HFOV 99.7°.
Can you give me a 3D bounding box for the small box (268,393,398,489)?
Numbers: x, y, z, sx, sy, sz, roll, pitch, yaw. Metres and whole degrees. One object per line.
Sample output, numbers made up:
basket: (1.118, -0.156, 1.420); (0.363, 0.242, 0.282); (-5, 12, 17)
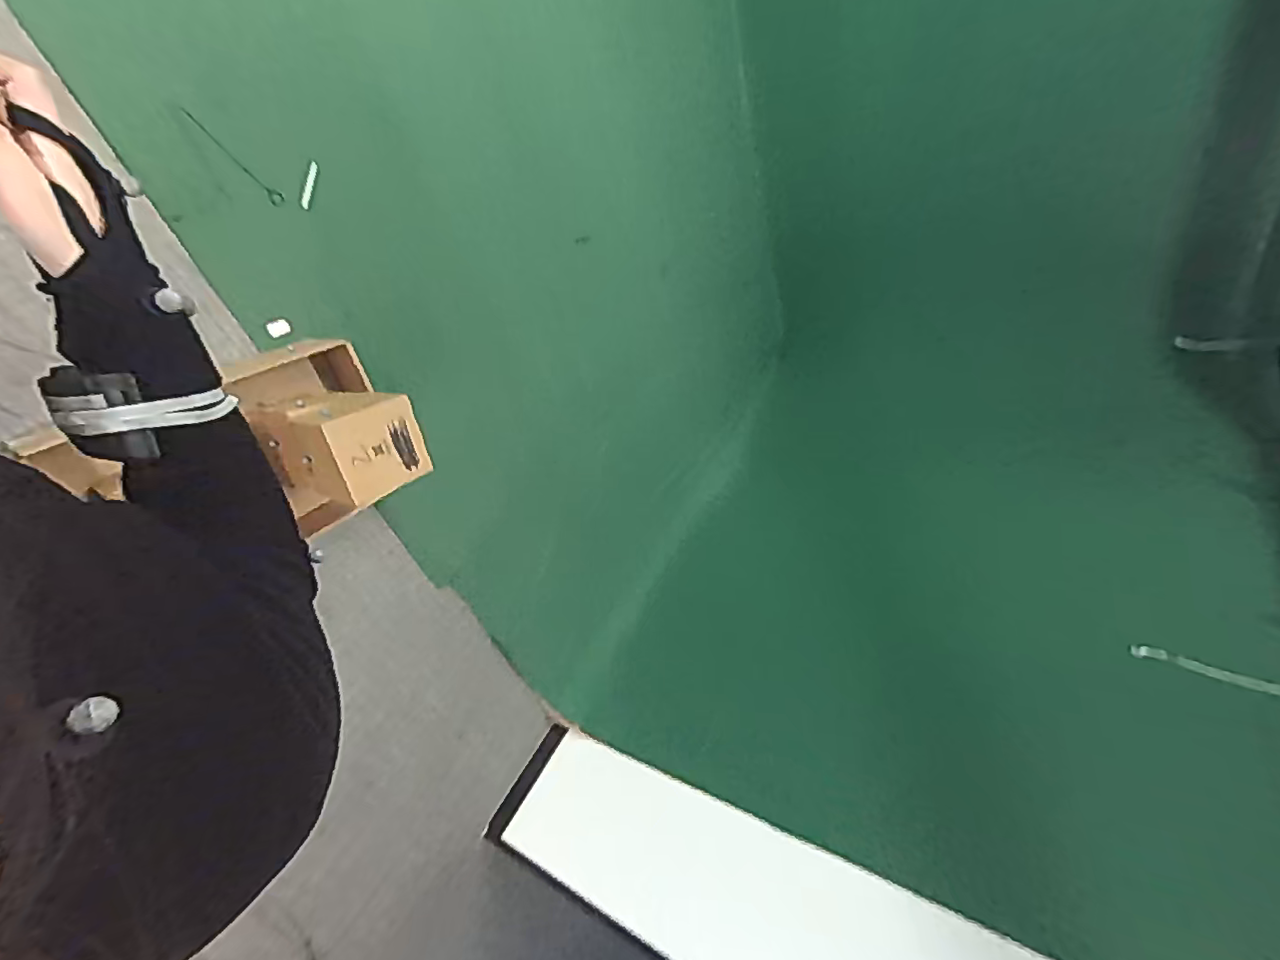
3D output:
small box: (-0.675, -0.094, 1.193); (0.179, 0.176, 0.168); (-29, 118, -45)
